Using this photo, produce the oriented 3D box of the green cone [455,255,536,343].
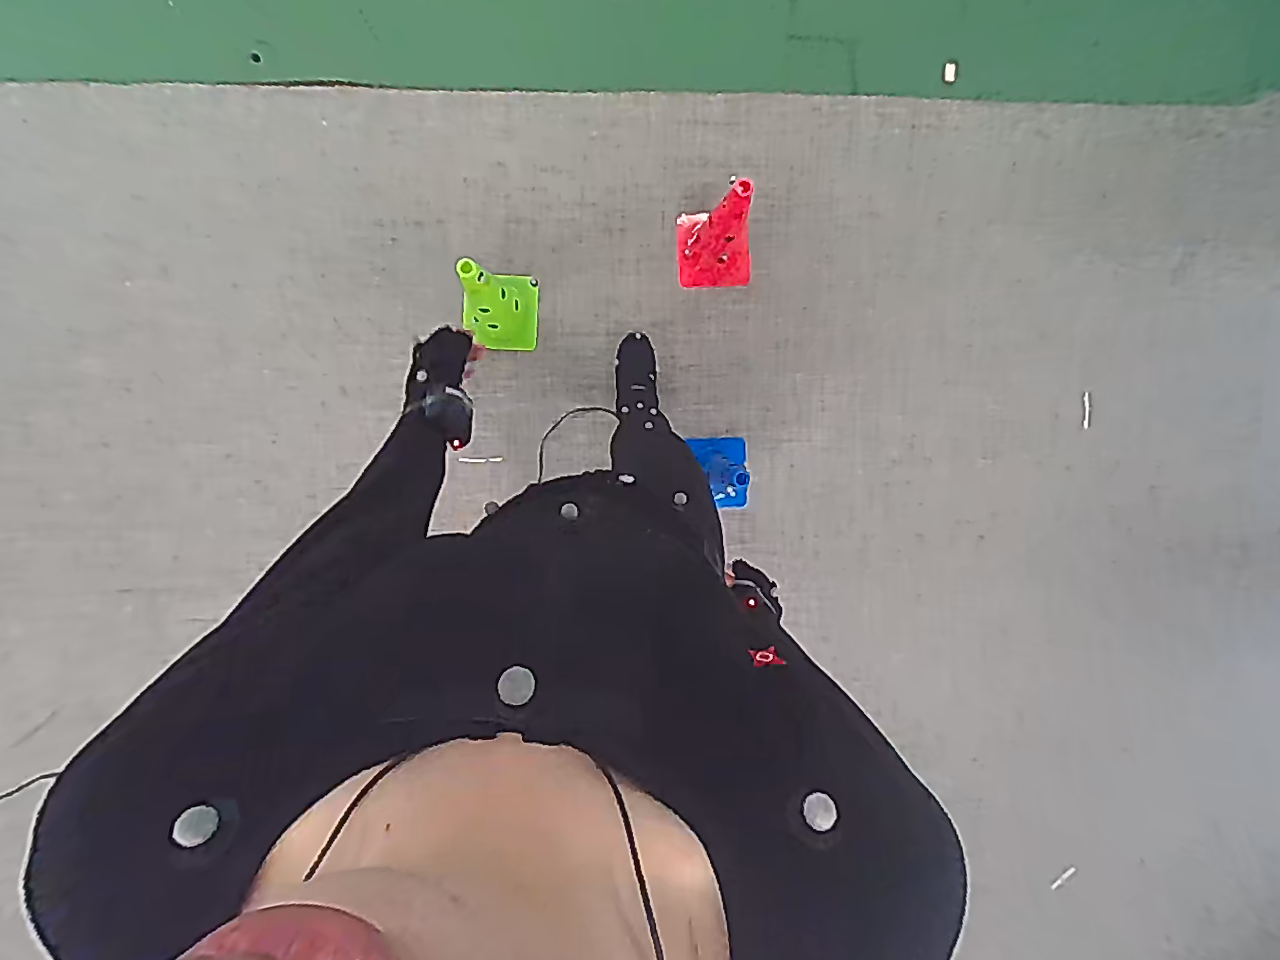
[{"bbox_3d":[-0.373,-0.461,1.286,0.200,0.368,0.202,1,94,-3],"label":"green cone"}]
